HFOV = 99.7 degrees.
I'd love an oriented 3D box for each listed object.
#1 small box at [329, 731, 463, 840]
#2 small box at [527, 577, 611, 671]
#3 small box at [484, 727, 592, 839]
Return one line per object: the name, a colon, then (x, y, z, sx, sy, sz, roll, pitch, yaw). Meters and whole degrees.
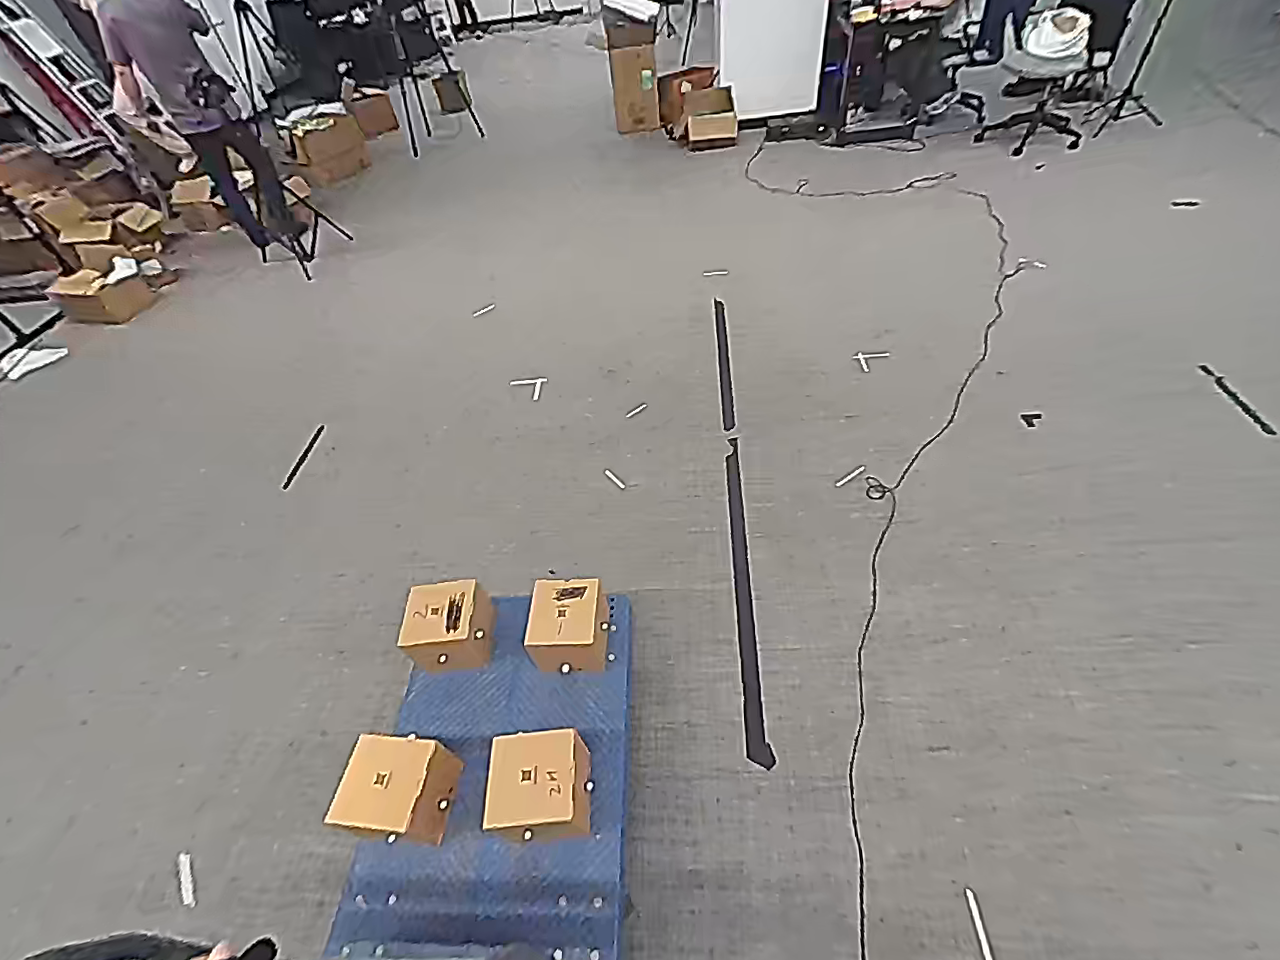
small box: (-0.507, 0.652, 1.151, 0.179, 0.176, 0.168, 0, 48, 8)
small box: (-0.170, 0.363, 1.361, 0.168, 0.176, 0.179, -2, 49, 6)
small box: (-0.202, 0.632, 1.123, 0.179, 0.176, 0.168, -6, 48, 3)
